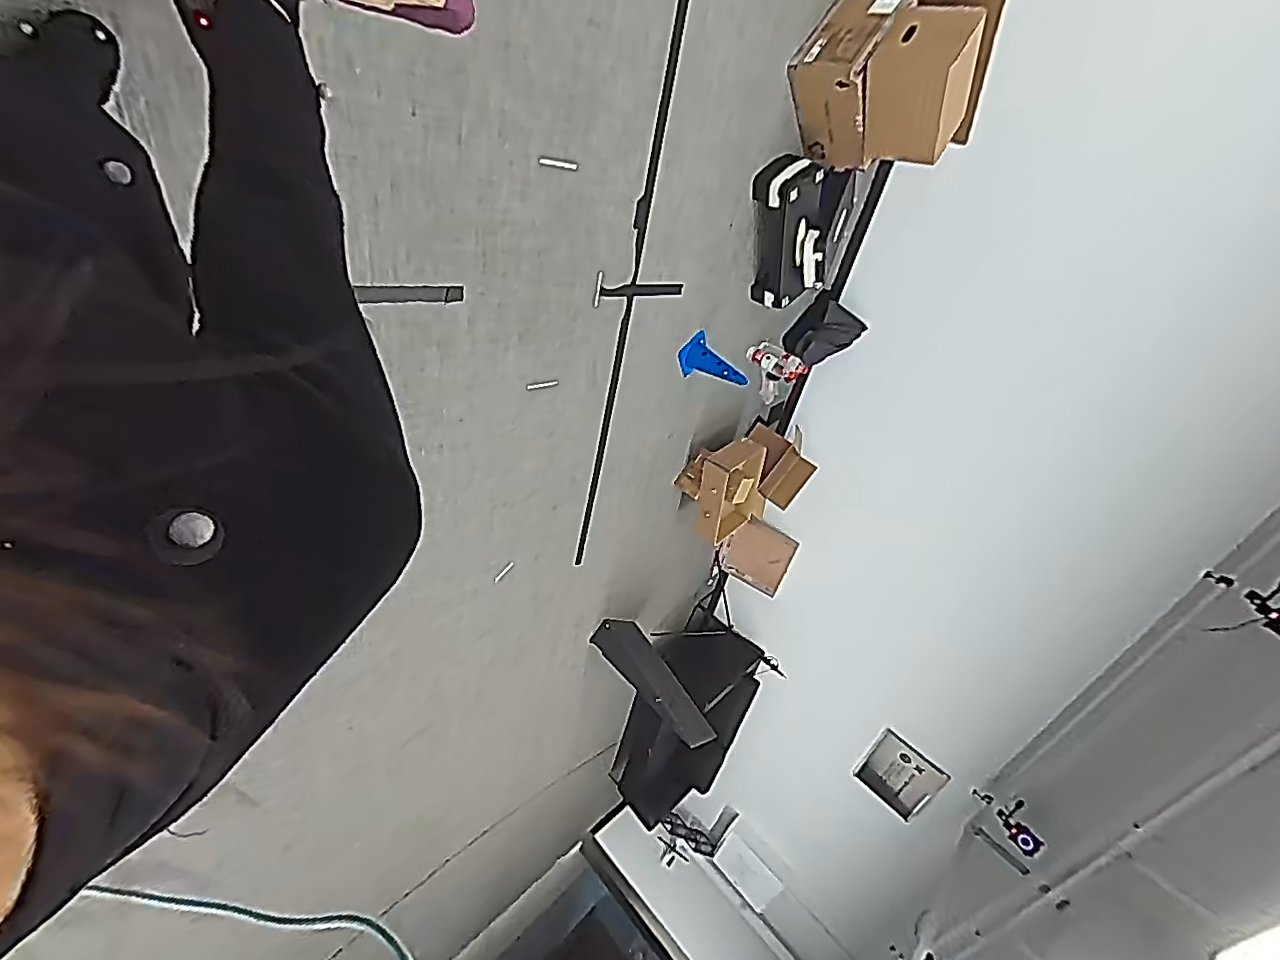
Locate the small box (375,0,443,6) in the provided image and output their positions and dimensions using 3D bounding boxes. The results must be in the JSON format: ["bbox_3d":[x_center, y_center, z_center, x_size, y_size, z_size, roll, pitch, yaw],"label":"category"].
[{"bbox_3d":[-0.314,-0.606,0.535,0.168,0.176,0.179,-22,137,-39],"label":"small box"}]
